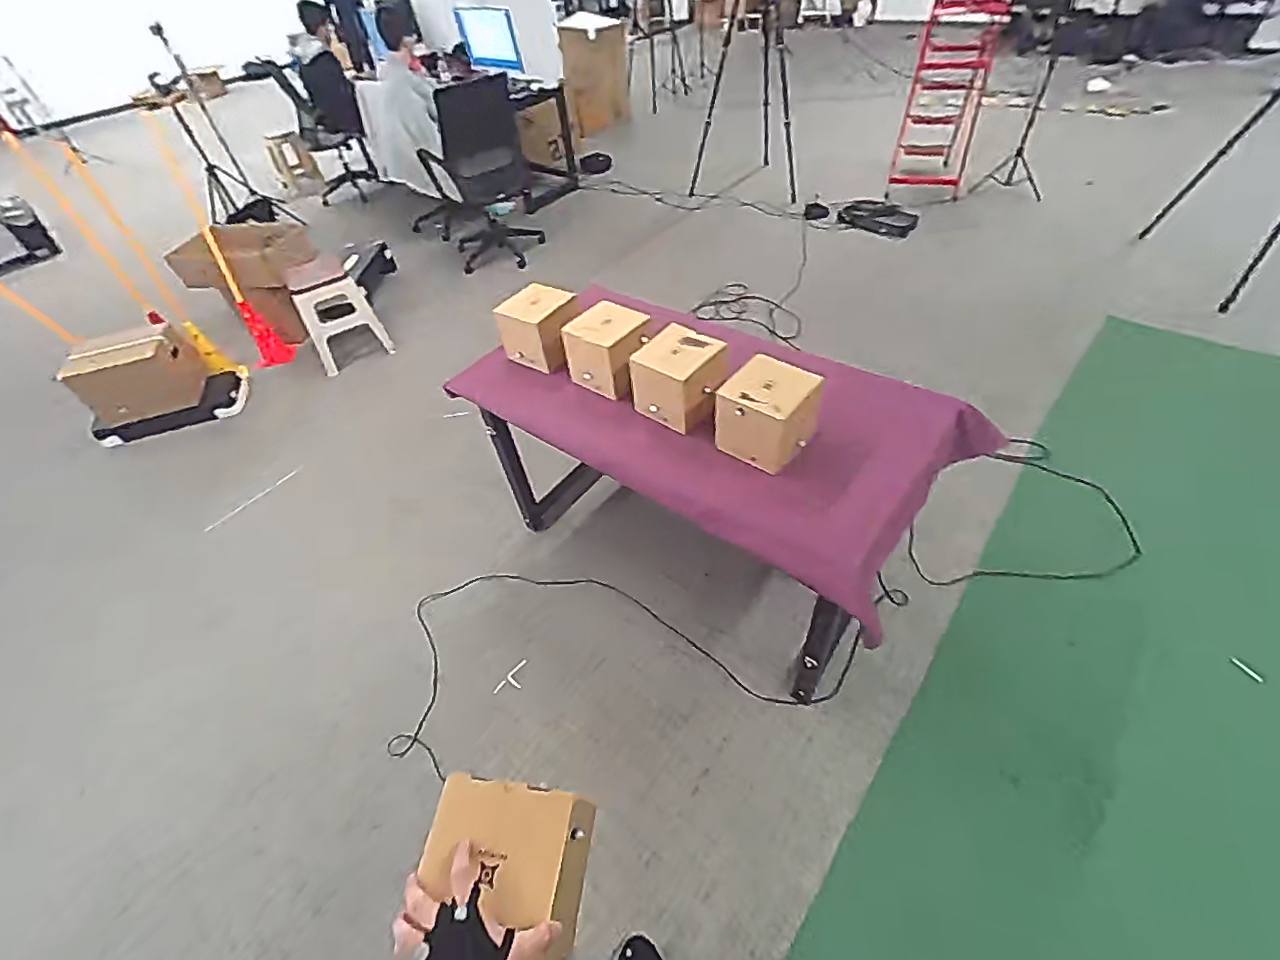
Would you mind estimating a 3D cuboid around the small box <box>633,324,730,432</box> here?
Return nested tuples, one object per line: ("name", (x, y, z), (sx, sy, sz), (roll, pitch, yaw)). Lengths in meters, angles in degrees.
("small box", (0.103, -0.252, 1.338), (0.168, 0.176, 0.179), (31, 59, 30))

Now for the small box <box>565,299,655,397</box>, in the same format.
("small box", (-0.074, -0.354, 1.454), (0.168, 0.176, 0.179), (29, 57, 29))

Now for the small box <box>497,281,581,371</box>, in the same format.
("small box", (-0.278, -0.445, 1.565), (0.168, 0.176, 0.179), (24, 55, 27))

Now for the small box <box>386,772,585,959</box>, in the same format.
("small box", (-0.173, 0.484, 0.676), (0.168, 0.176, 0.179), (3, 56, 9))

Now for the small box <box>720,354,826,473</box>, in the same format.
("small box", (0.292, -0.150, 1.220), (0.168, 0.176, 0.179), (30, 57, 31))
